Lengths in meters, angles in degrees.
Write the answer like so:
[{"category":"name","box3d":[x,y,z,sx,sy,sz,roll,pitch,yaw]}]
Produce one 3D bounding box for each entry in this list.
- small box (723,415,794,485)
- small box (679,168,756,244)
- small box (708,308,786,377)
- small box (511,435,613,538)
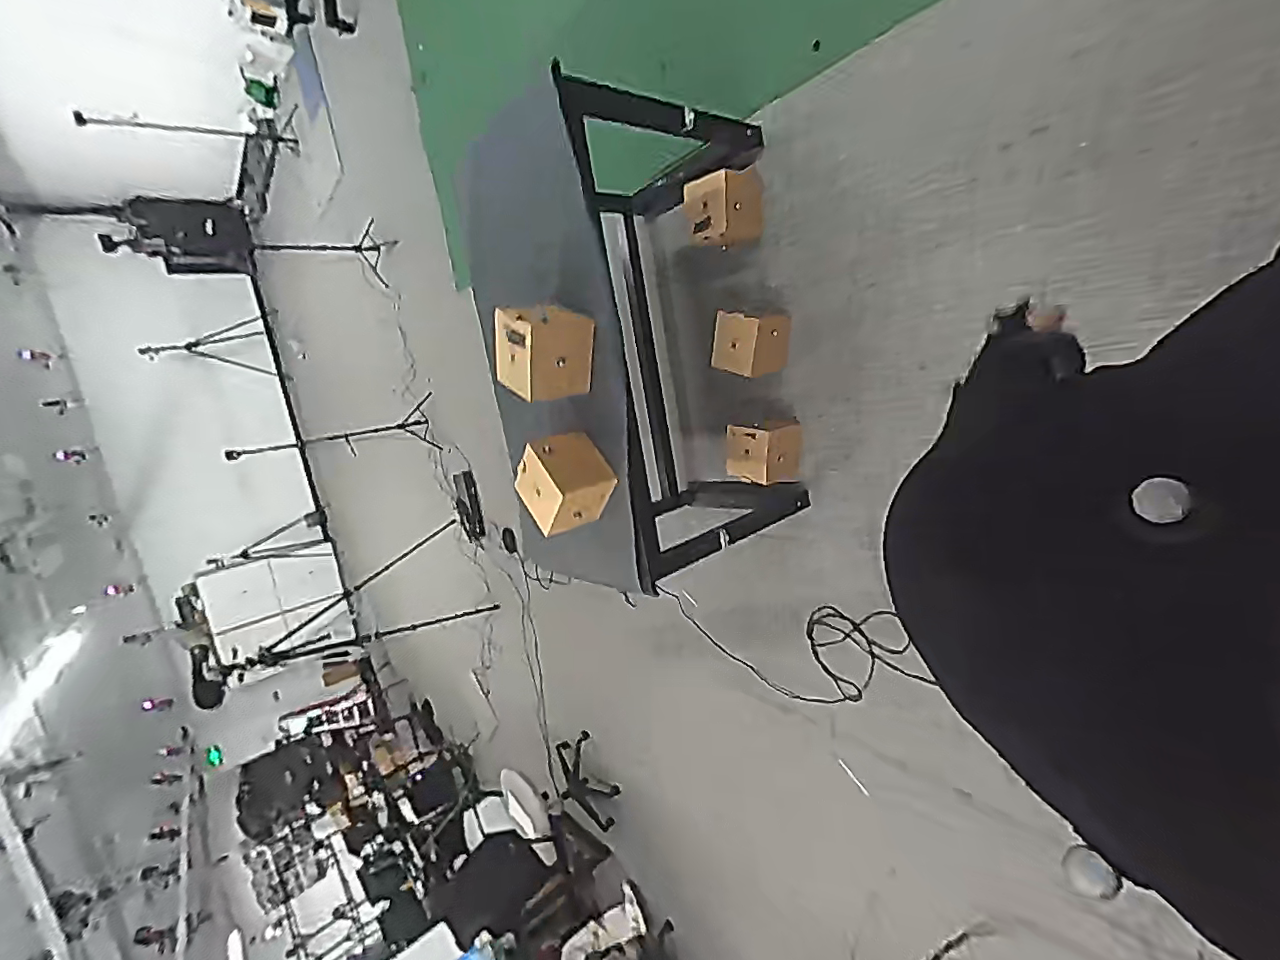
[{"category":"small box","box3d":[0.390,-0.104,1.771,0.168,0.176,0.179,18,118,45]},{"category":"small box","box3d":[0.241,-0.833,1.663,0.168,0.176,0.179,9,110,48]},{"category":"small box","box3d":[0.337,-0.440,1.702,0.168,0.176,0.179,28,126,42]},{"category":"small box","box3d":[-0.192,0.009,1.342,0.179,0.176,0.168,52,137,23]}]
